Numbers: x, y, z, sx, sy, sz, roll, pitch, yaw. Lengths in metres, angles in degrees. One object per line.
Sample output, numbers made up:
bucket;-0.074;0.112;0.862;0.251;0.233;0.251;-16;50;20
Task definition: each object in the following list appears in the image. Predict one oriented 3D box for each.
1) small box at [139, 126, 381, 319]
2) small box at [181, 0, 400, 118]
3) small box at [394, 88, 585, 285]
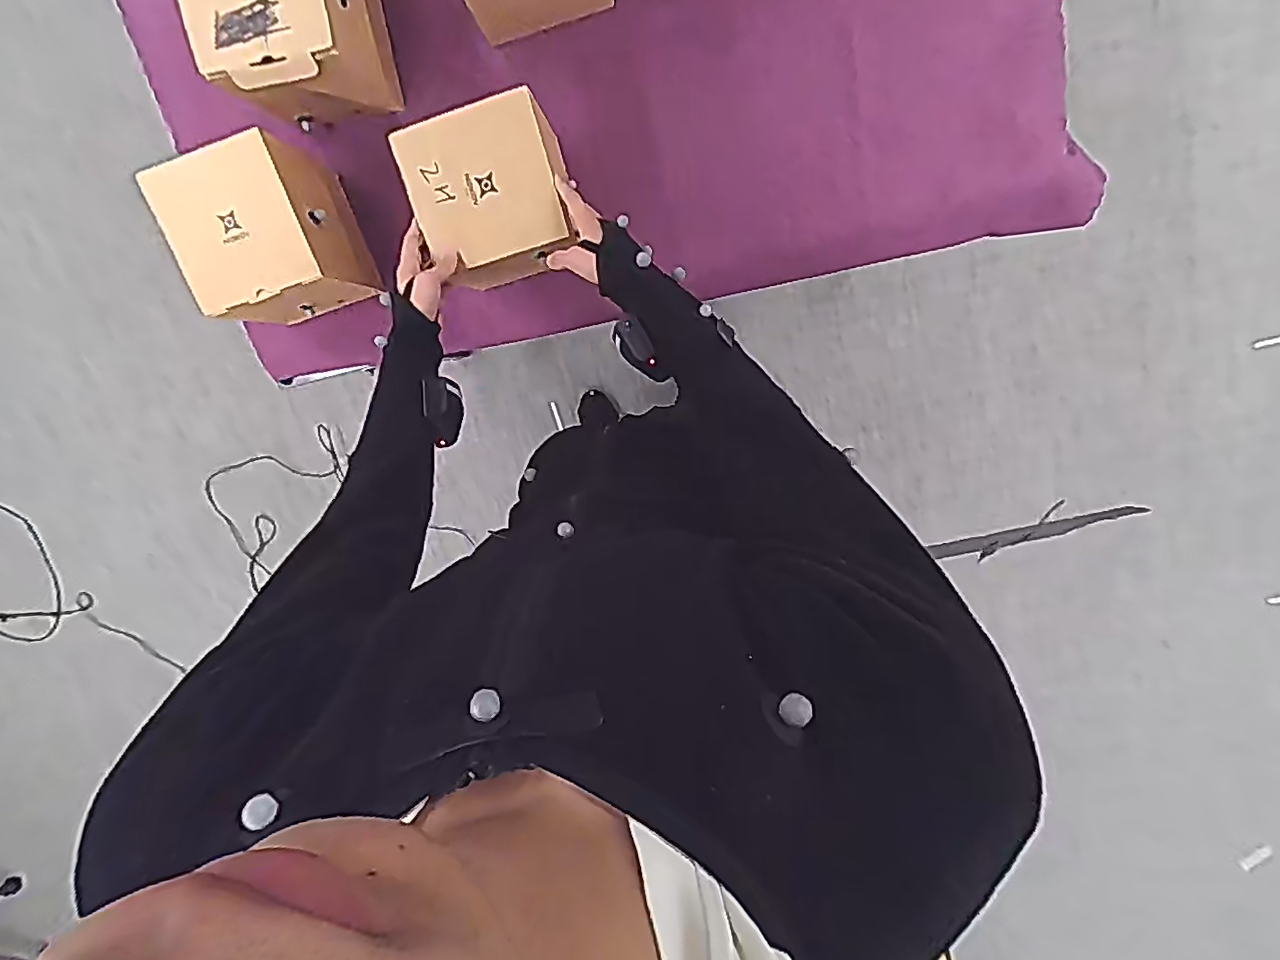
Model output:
small box;-0.489;-0.328;0.727;0.168;0.176;0.179;-17;104;5
small box;-0.422;-0.572;0.661;0.168;0.176;0.179;-8;105;4
small box;-0.177;-0.363;0.706;0.179;0.176;0.168;-14;104;7
